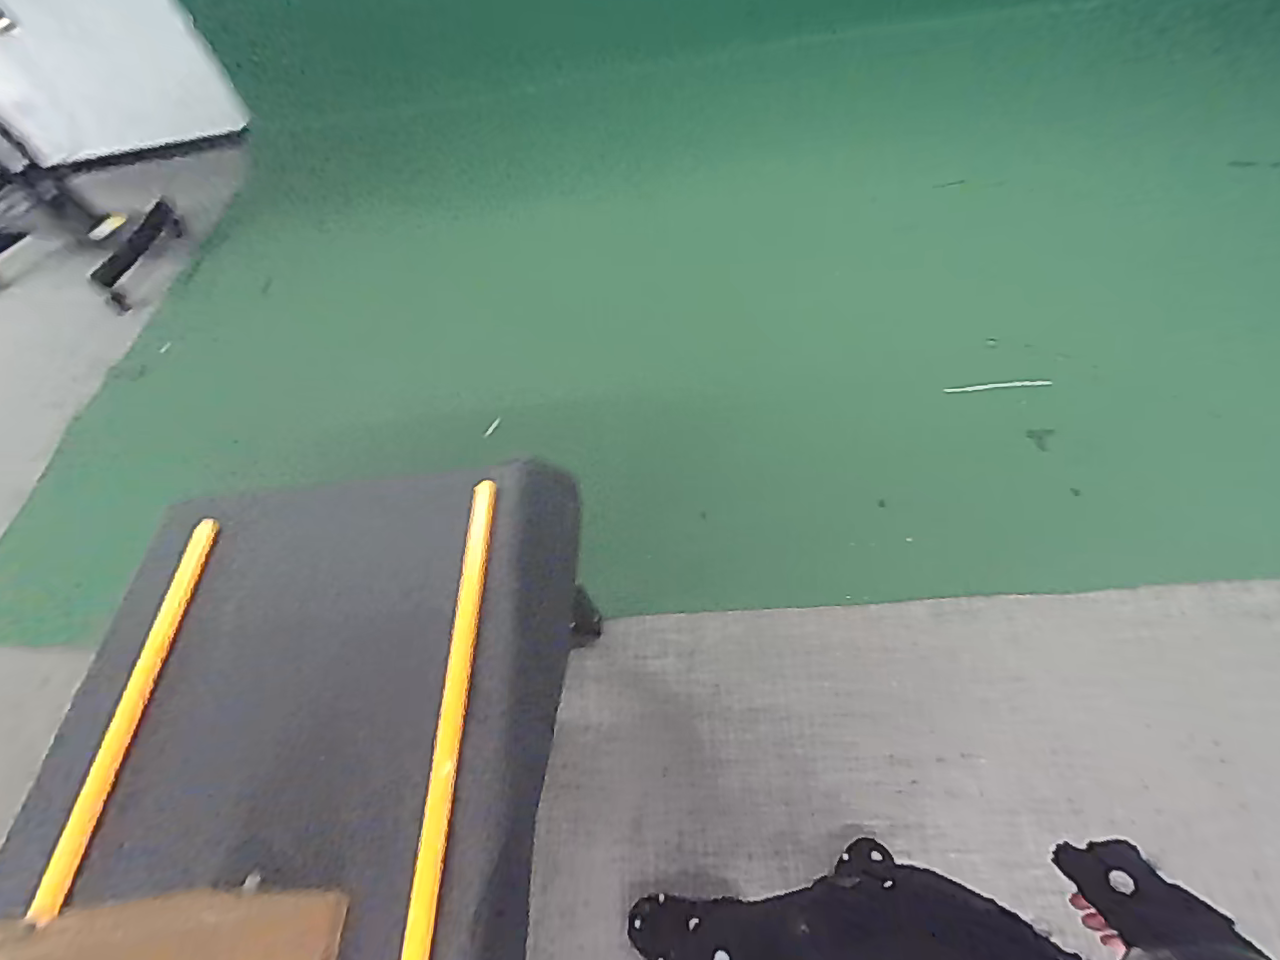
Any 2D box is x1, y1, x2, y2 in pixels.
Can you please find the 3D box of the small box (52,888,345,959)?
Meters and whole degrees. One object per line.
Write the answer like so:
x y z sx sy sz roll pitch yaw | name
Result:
-0.410 0.478 0.483 0.179 0.176 0.168 -6 58 7 | small box
